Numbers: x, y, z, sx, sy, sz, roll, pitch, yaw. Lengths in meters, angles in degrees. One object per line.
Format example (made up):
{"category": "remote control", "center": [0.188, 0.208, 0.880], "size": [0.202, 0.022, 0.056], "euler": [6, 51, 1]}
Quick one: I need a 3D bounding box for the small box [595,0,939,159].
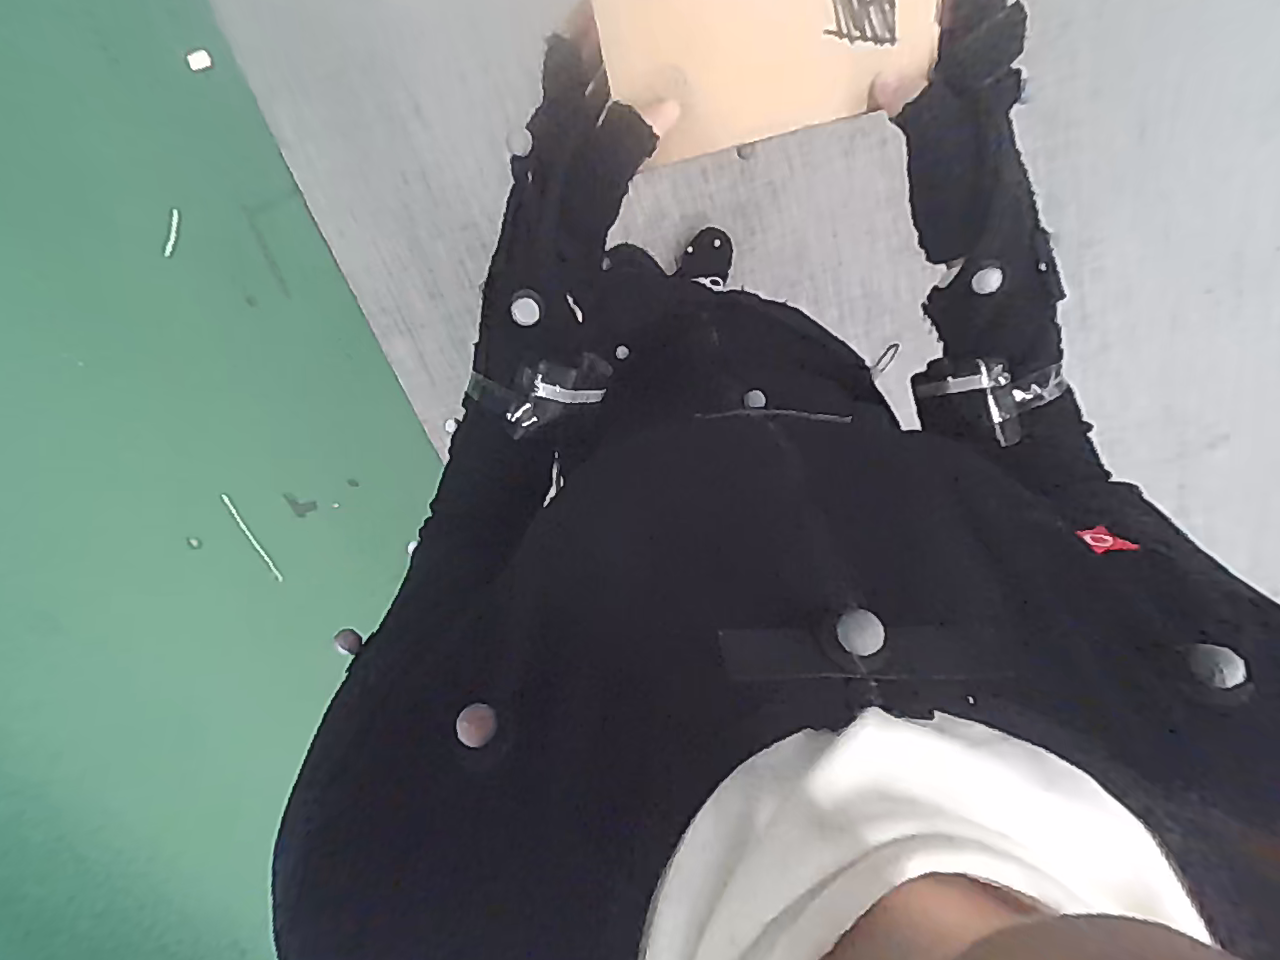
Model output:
{"category": "small box", "center": [0.061, -0.315, 0.327], "size": [0.179, 0.176, 0.168], "euler": [-9, 125, 9]}
